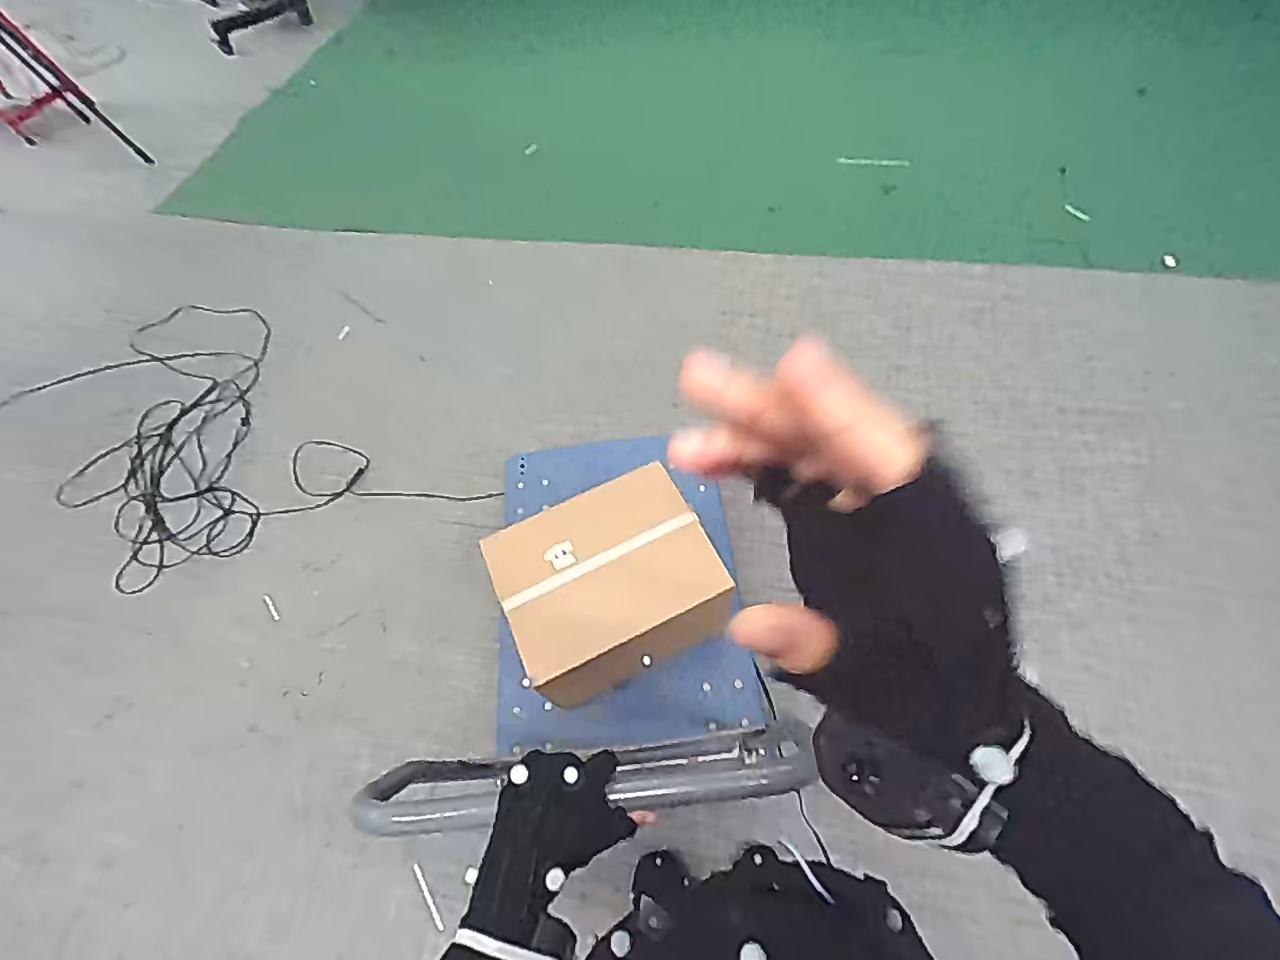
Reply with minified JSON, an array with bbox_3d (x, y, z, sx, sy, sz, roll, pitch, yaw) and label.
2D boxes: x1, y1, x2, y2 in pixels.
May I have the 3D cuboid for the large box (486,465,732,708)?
[{"bbox_3d":[-0.055,0.237,1.171,0.408,0.320,0.320,-25,60,-9],"label":"large box"}]
